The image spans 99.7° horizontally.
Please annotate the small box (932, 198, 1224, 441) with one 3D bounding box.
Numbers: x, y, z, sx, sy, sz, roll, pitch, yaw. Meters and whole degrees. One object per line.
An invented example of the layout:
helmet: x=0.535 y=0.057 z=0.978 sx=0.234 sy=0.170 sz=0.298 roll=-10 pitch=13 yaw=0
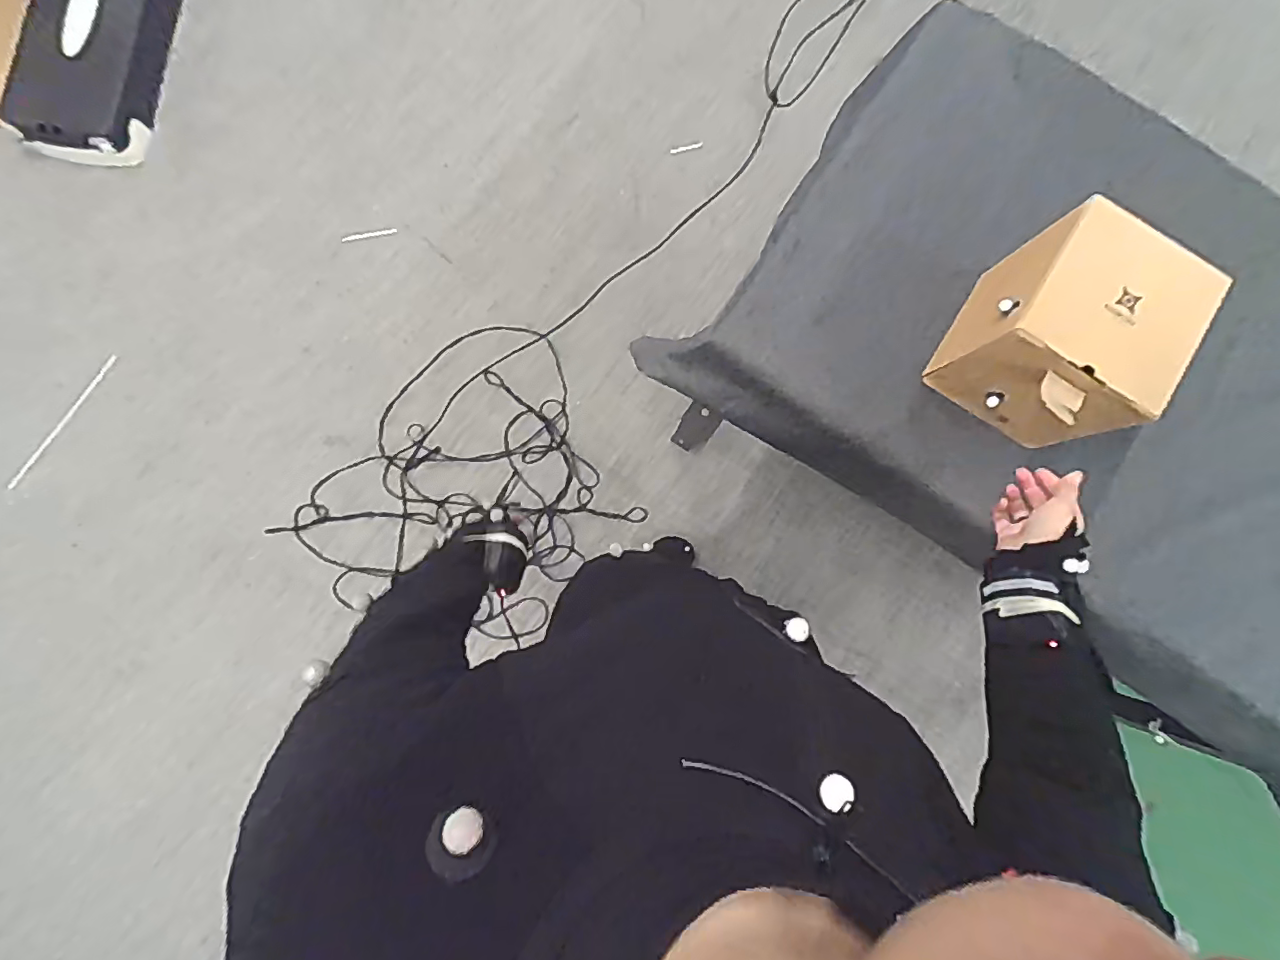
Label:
small box: x=0.480 y=-0.167 z=0.621 sx=0.168 sy=0.176 sz=0.179 roll=33 pitch=83 yaw=0
